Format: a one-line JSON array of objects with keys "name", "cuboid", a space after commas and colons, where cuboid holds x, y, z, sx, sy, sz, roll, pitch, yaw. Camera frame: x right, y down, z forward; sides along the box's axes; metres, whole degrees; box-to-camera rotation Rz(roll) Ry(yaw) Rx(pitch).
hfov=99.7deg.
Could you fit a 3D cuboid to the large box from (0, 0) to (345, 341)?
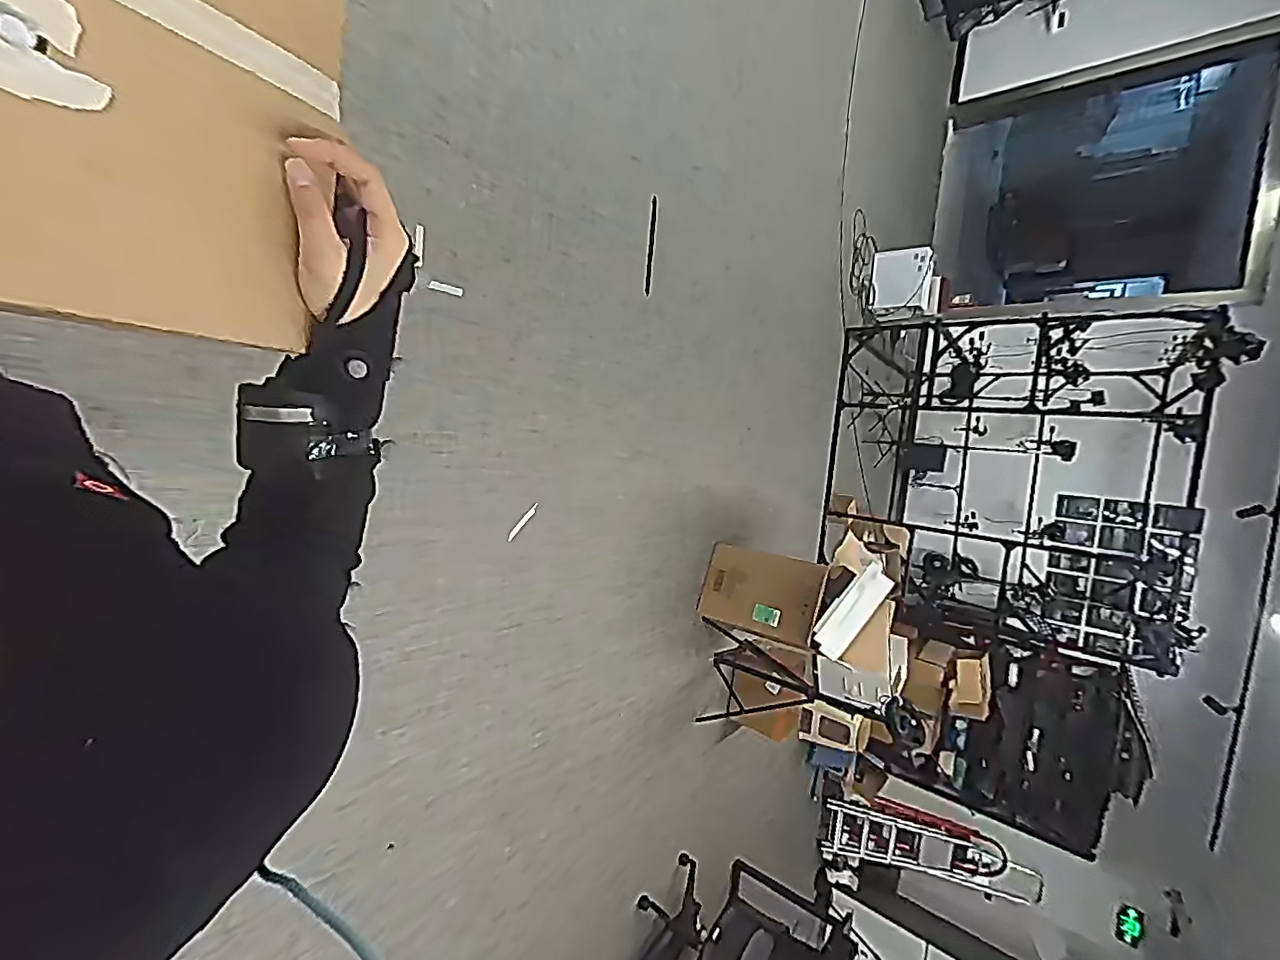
[{"name": "large box", "cuboid": [-0.428, -0.263, 0.256, 0.408, 0.320, 0.320, -3, 104, -59]}]
